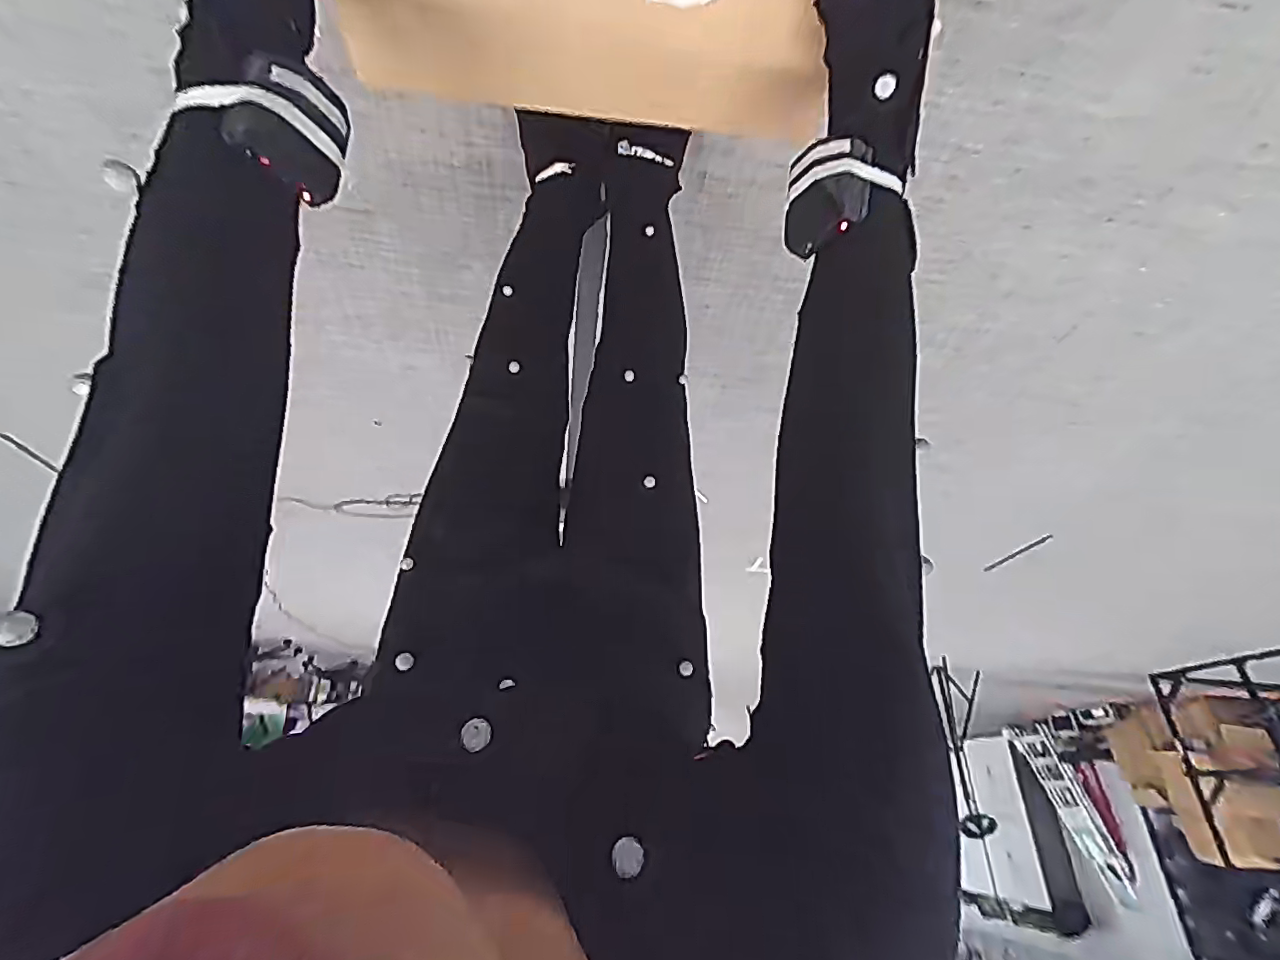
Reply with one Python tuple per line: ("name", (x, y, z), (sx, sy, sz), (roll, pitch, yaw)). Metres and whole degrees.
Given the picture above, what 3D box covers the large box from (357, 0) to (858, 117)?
("large box", (-0.018, -0.549, 0.439), (0.408, 0.320, 0.320), (4, 147, -4))
